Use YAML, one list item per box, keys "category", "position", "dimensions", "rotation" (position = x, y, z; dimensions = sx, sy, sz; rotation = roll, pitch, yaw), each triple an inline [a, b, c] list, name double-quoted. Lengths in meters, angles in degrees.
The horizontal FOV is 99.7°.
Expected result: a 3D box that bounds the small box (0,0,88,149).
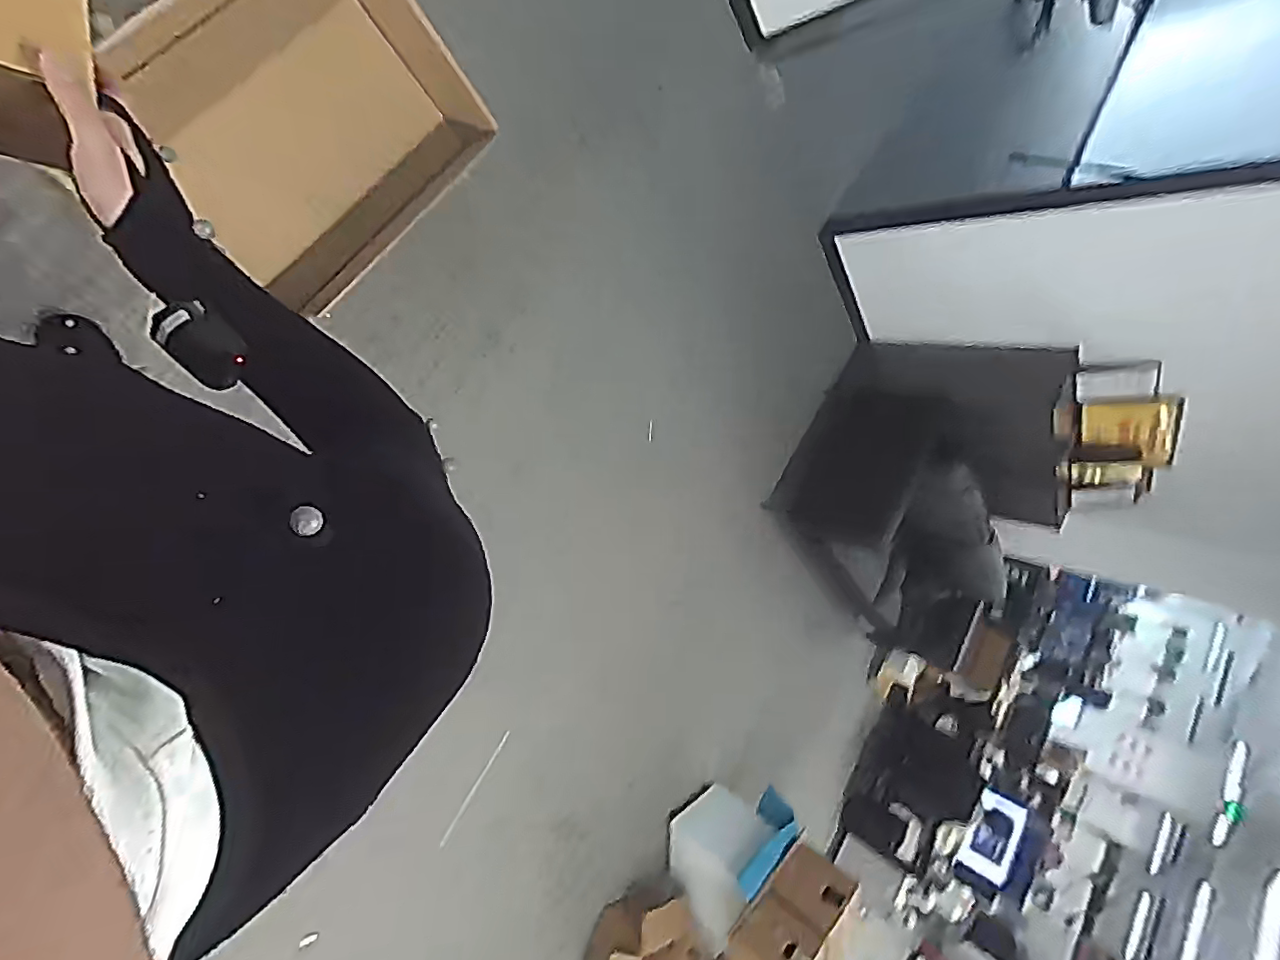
- category: "small box"
  position: [-0.518, -0.375, 0.379]
  dimensions: [0.168, 0.176, 0.179]
  rotation: [-7, 100, -48]
